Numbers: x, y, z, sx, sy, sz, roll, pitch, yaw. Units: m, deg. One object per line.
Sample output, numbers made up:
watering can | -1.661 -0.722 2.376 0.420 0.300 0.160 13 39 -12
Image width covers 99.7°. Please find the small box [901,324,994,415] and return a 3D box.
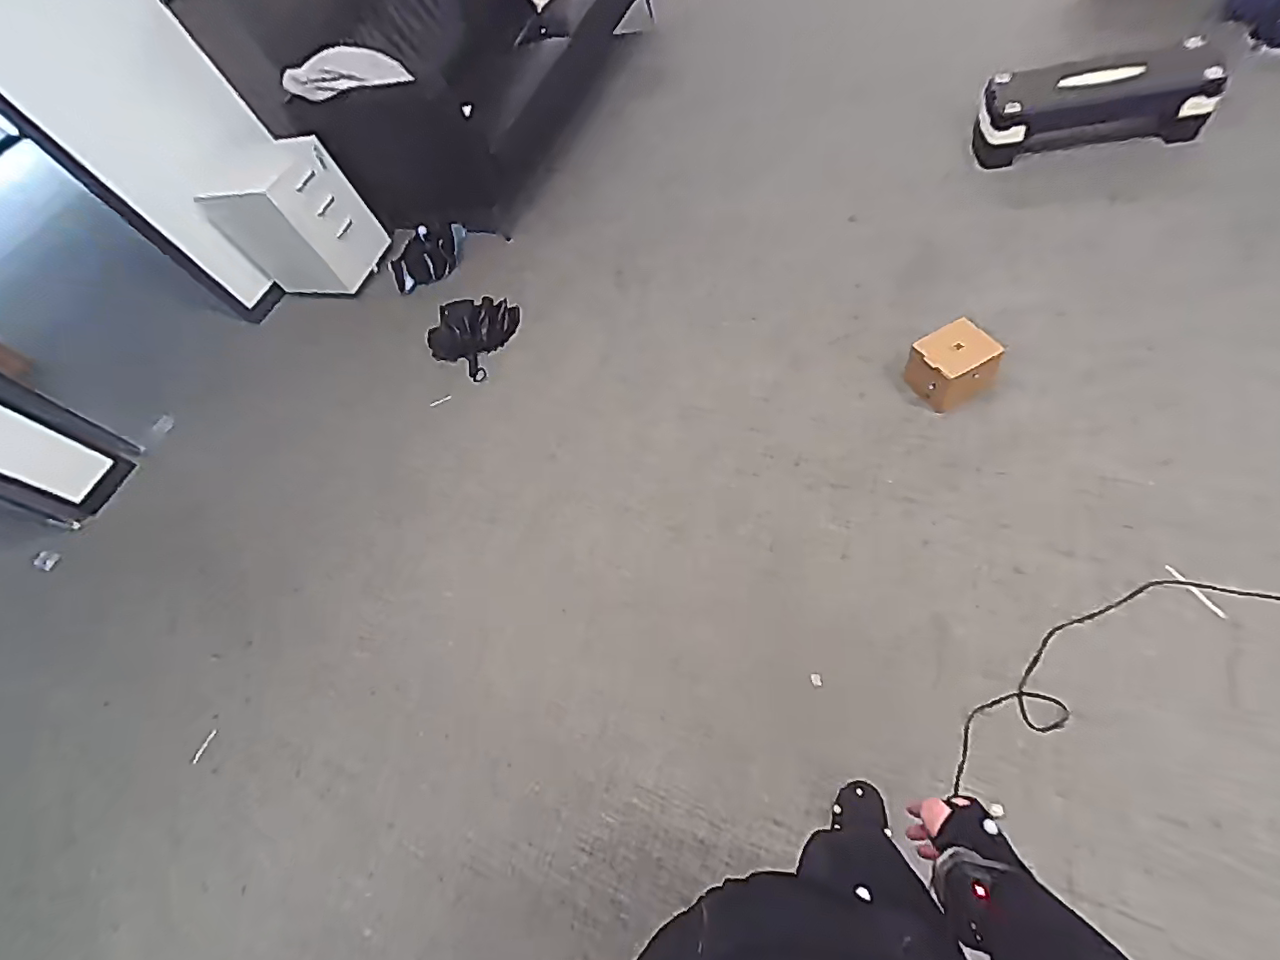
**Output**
small box | 0.912 -0.327 1.627 0.179 0.176 0.168 -28 57 -2
